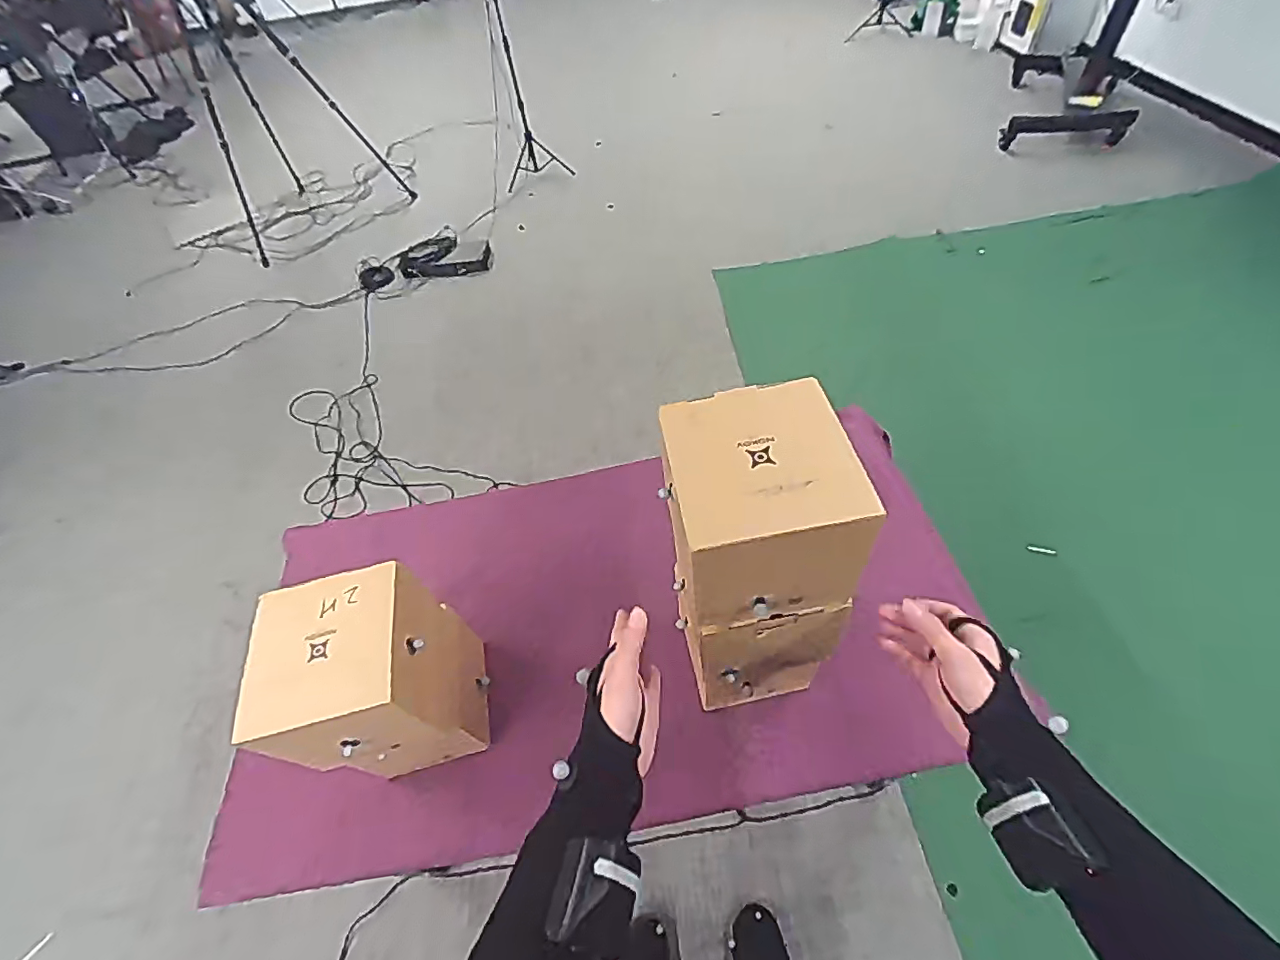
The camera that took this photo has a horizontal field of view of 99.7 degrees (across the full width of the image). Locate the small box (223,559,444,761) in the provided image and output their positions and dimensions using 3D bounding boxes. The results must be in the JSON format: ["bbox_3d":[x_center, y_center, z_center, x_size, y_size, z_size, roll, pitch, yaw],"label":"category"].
[{"bbox_3d":[-0.347,0.225,0.655,0.168,0.176,0.179,-13,53,-4],"label":"small box"}]

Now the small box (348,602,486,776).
[{"bbox_3d":[-0.336,0.310,0.797,0.168,0.176,0.179,-15,53,-4],"label":"small box"}]

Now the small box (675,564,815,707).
[{"bbox_3d":[0.154,0.222,0.804,0.168,0.176,0.179,-12,51,-1],"label":"small box"}]

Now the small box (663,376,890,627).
[{"bbox_3d":[0.119,0.025,0.545,0.168,0.176,0.179,-10,52,1],"label":"small box"}]

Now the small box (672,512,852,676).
[{"bbox_3d":[0.139,0.128,0.670,0.168,0.176,0.179,-10,51,0],"label":"small box"}]
